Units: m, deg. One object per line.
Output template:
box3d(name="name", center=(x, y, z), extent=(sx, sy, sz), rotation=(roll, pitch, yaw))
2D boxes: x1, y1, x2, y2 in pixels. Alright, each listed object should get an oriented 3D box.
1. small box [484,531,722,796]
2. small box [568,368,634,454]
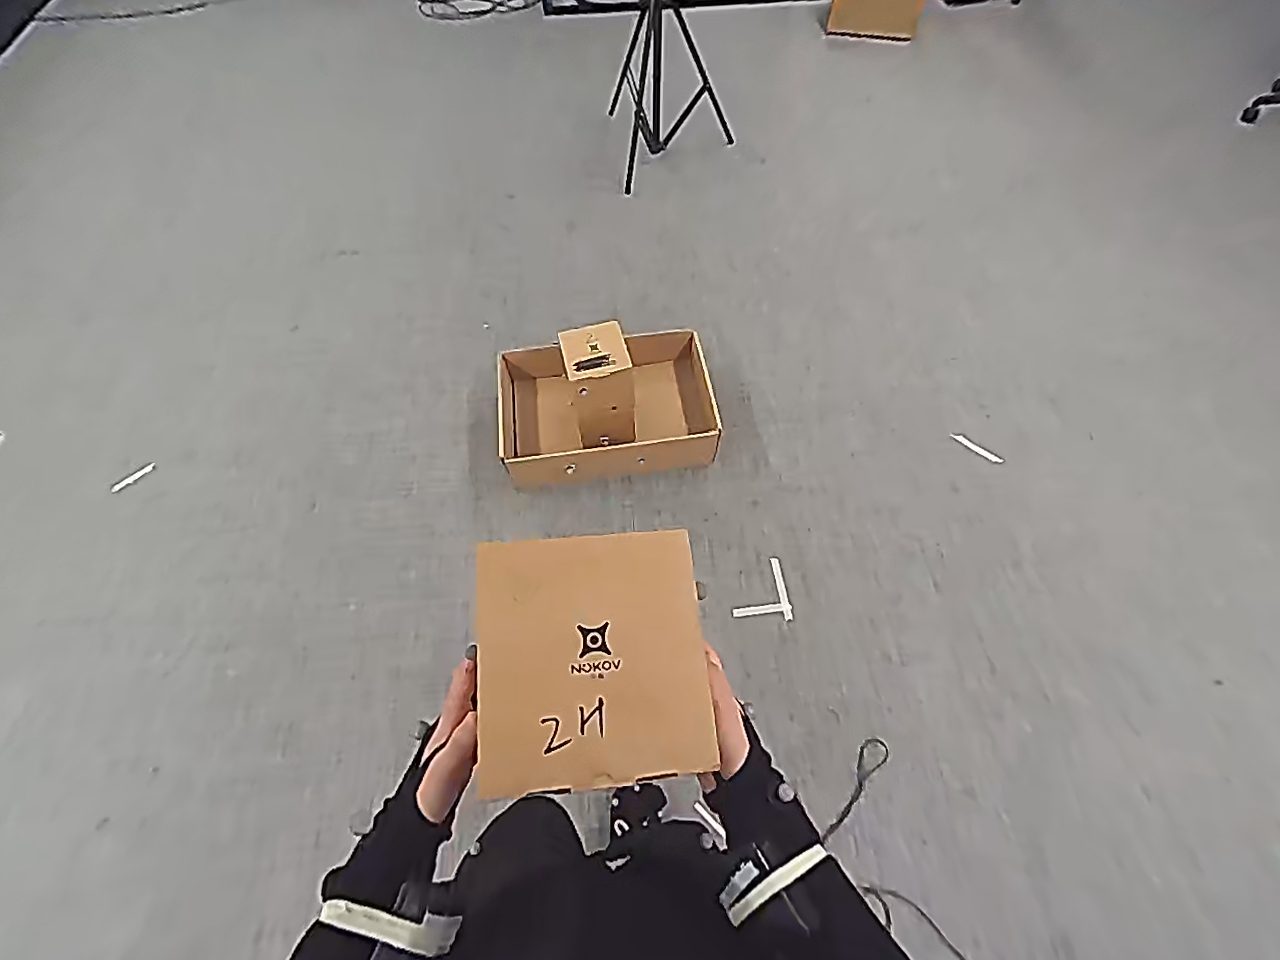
box3d(name="small box", center=(-0.039, 0.155, 0.470), extent=(0.168, 0.176, 0.179), rotation=(-4, 69, -7))
box3d(name="small box", center=(-0.115, -0.204, 1.617), extent=(0.168, 0.176, 0.179), rotation=(-13, 63, -5))
